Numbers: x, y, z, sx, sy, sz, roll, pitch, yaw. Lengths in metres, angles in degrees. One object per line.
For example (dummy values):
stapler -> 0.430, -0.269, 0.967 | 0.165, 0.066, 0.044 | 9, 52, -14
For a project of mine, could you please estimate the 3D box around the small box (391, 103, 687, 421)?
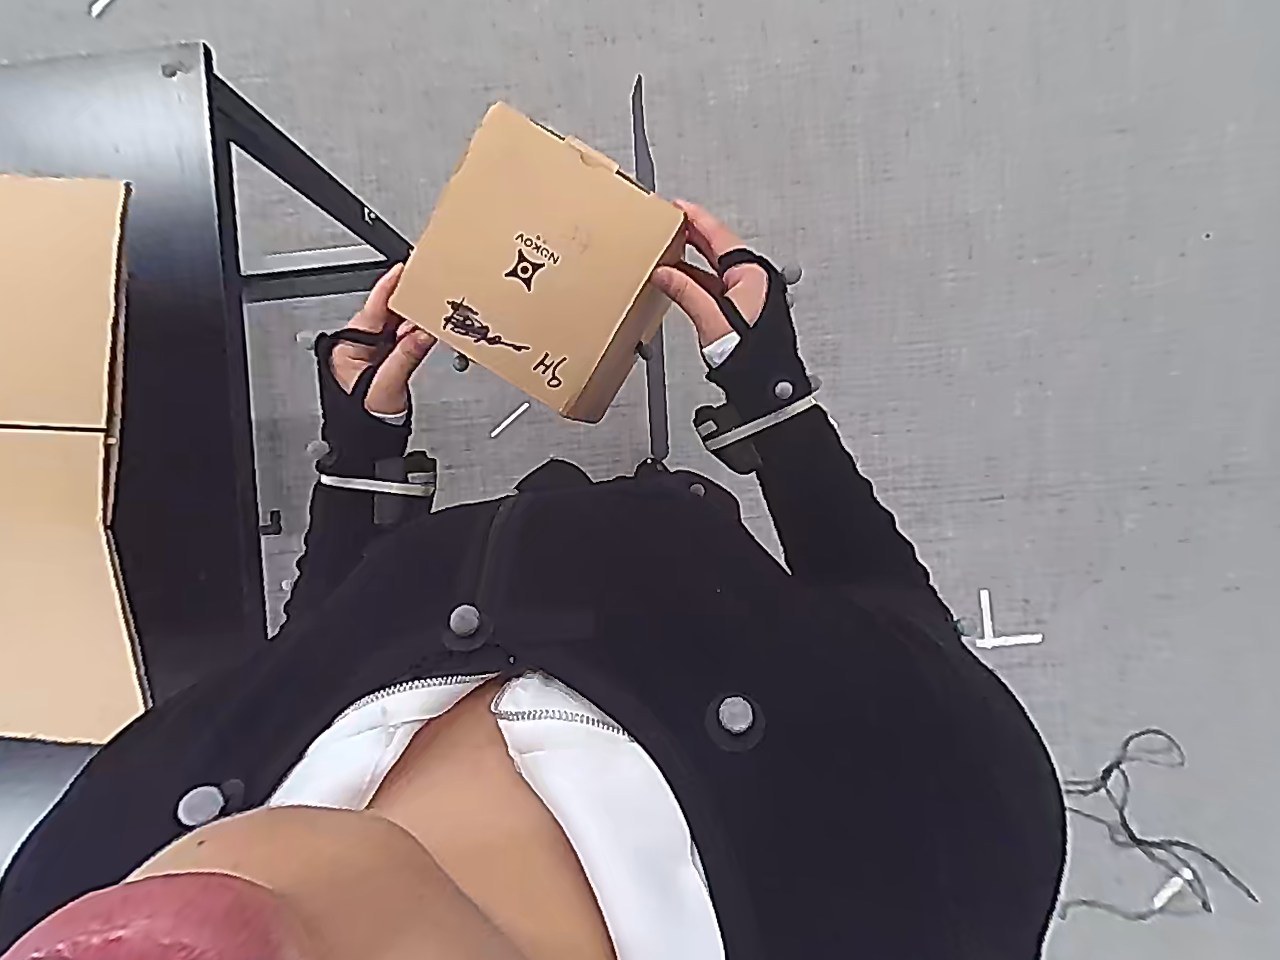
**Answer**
small box -> -0.074, -0.170, 0.484 | 0.168, 0.176, 0.179 | 32, 94, 3
